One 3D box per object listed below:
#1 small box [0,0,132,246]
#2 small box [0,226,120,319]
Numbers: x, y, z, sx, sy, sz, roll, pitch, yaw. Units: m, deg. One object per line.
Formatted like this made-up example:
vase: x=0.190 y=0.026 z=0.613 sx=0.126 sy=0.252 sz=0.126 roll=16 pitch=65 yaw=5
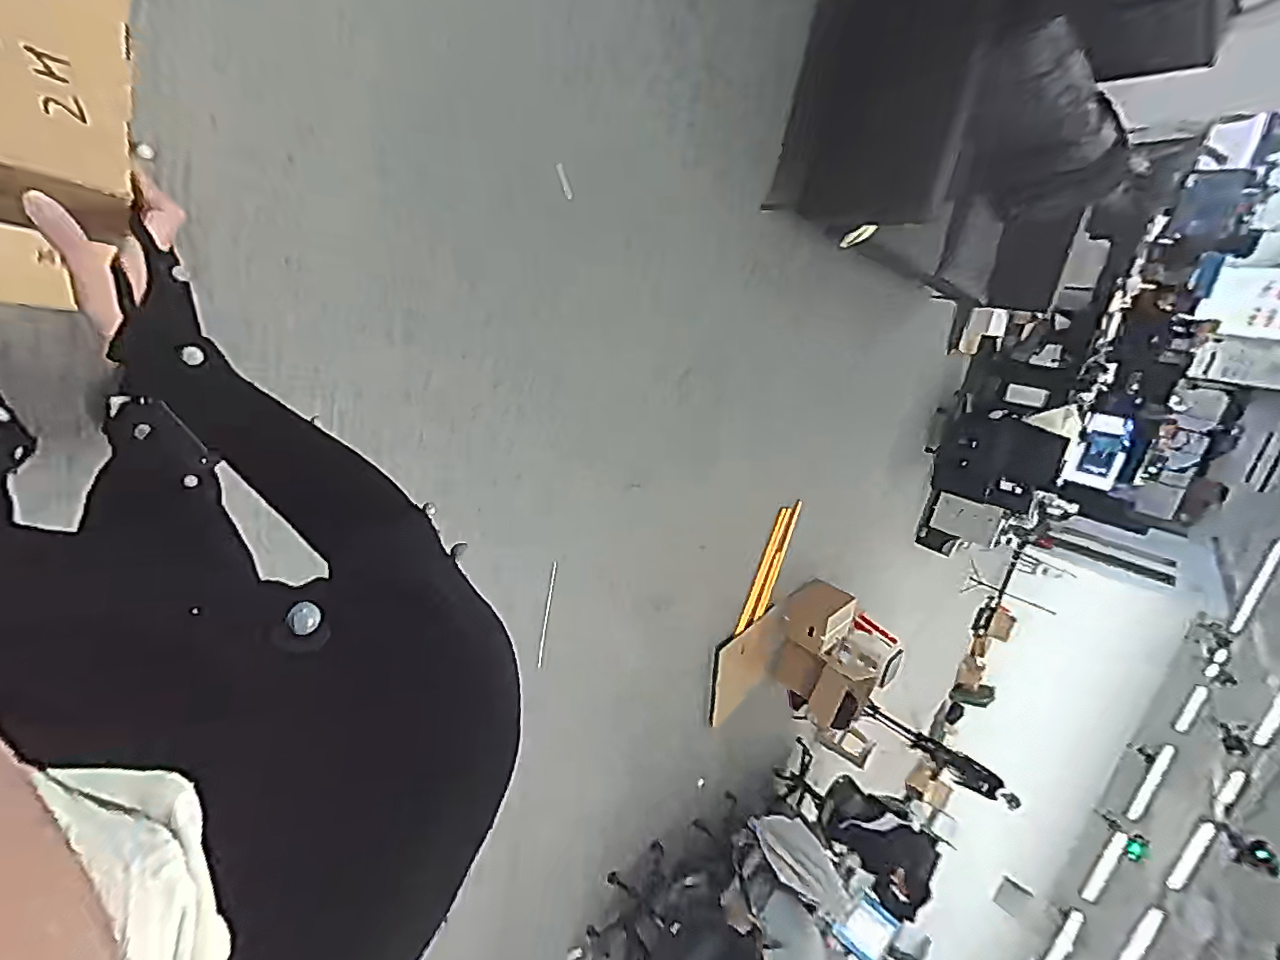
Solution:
small box: x=-0.509 y=-0.299 z=0.412 sx=0.179 sy=0.176 sz=0.168 roll=-1 pitch=94 yaw=-44
small box: x=-1.034 y=-0.384 z=0.940 sx=0.179 sy=0.176 sz=0.168 roll=-6 pitch=112 yaw=-46
